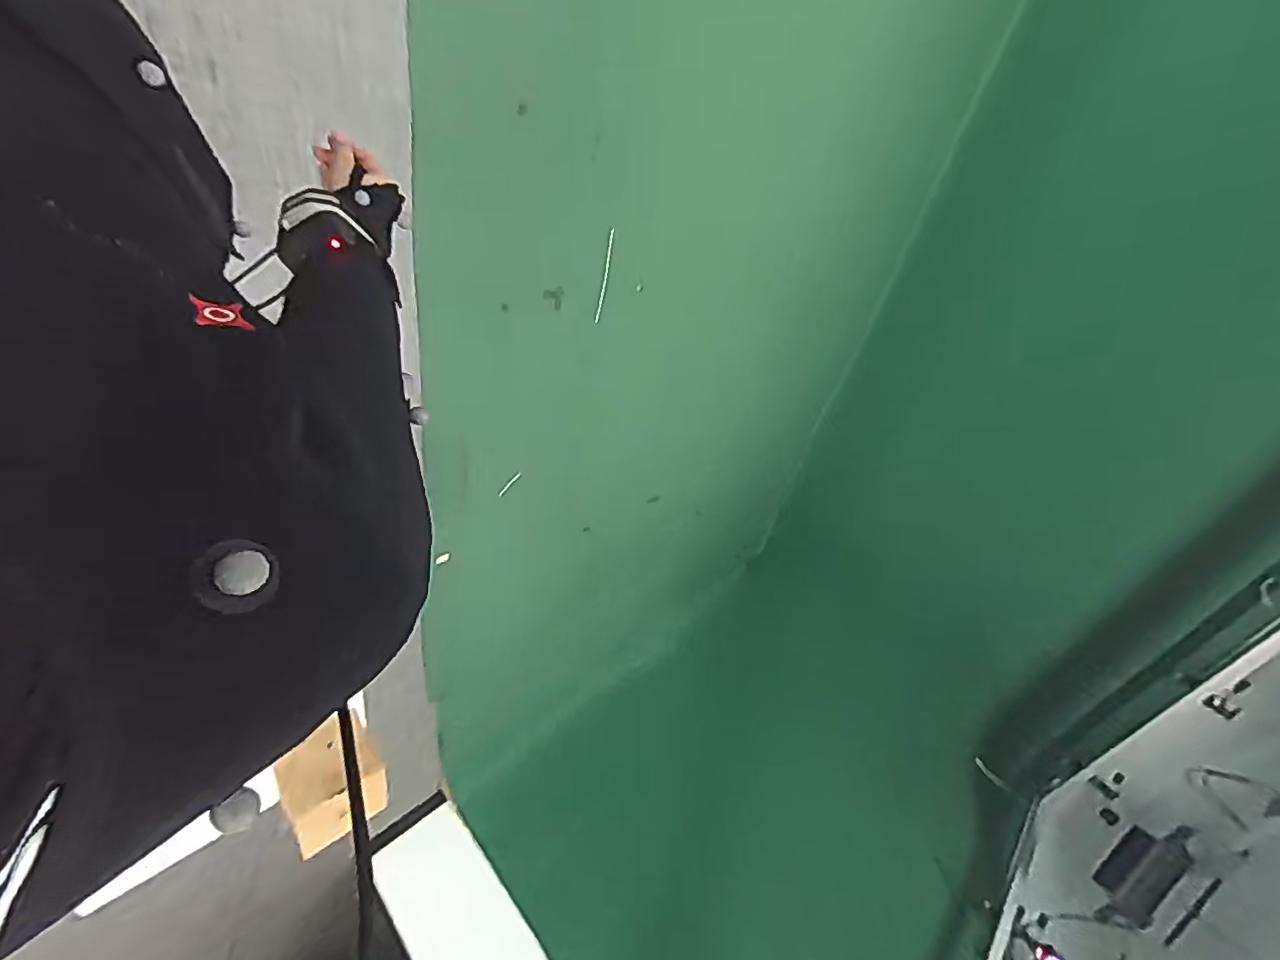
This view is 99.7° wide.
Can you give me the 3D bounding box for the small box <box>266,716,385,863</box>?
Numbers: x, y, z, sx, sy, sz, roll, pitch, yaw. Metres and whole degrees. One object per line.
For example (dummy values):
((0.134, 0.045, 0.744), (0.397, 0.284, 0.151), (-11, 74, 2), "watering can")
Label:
((-0.652, 0.637, 1.128), (0.168, 0.176, 0.179), (-20, 136, -42), "small box")
